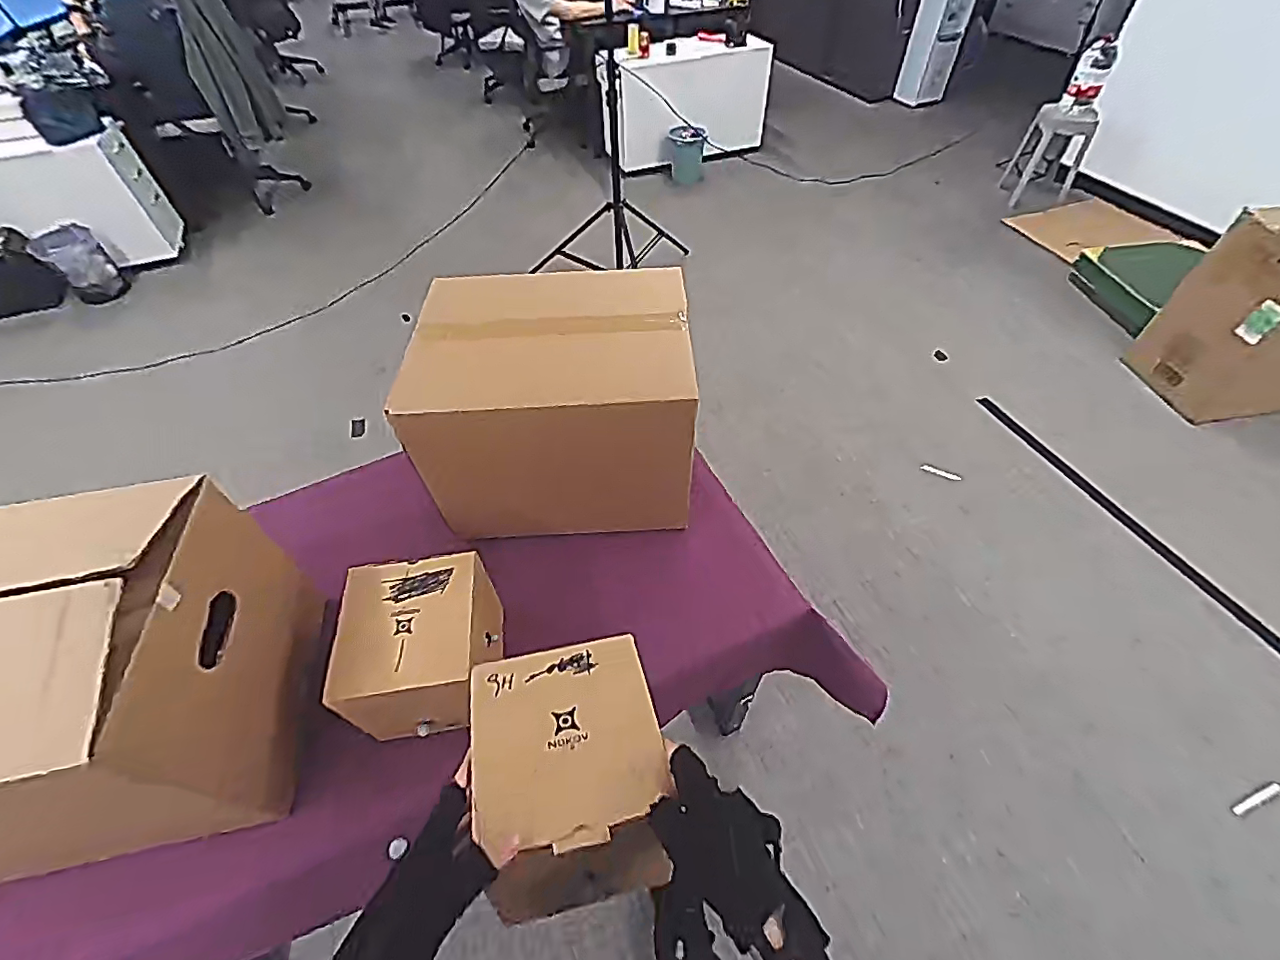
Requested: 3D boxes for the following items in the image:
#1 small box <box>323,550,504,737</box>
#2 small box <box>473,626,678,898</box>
[{"bbox_3d":[-0.282,0.218,0.718,0.168,0.176,0.179,-7,51,-4],"label":"small box"},{"bbox_3d":[-0.065,0.277,0.532,0.168,0.176,0.179,-8,39,-11],"label":"small box"}]
